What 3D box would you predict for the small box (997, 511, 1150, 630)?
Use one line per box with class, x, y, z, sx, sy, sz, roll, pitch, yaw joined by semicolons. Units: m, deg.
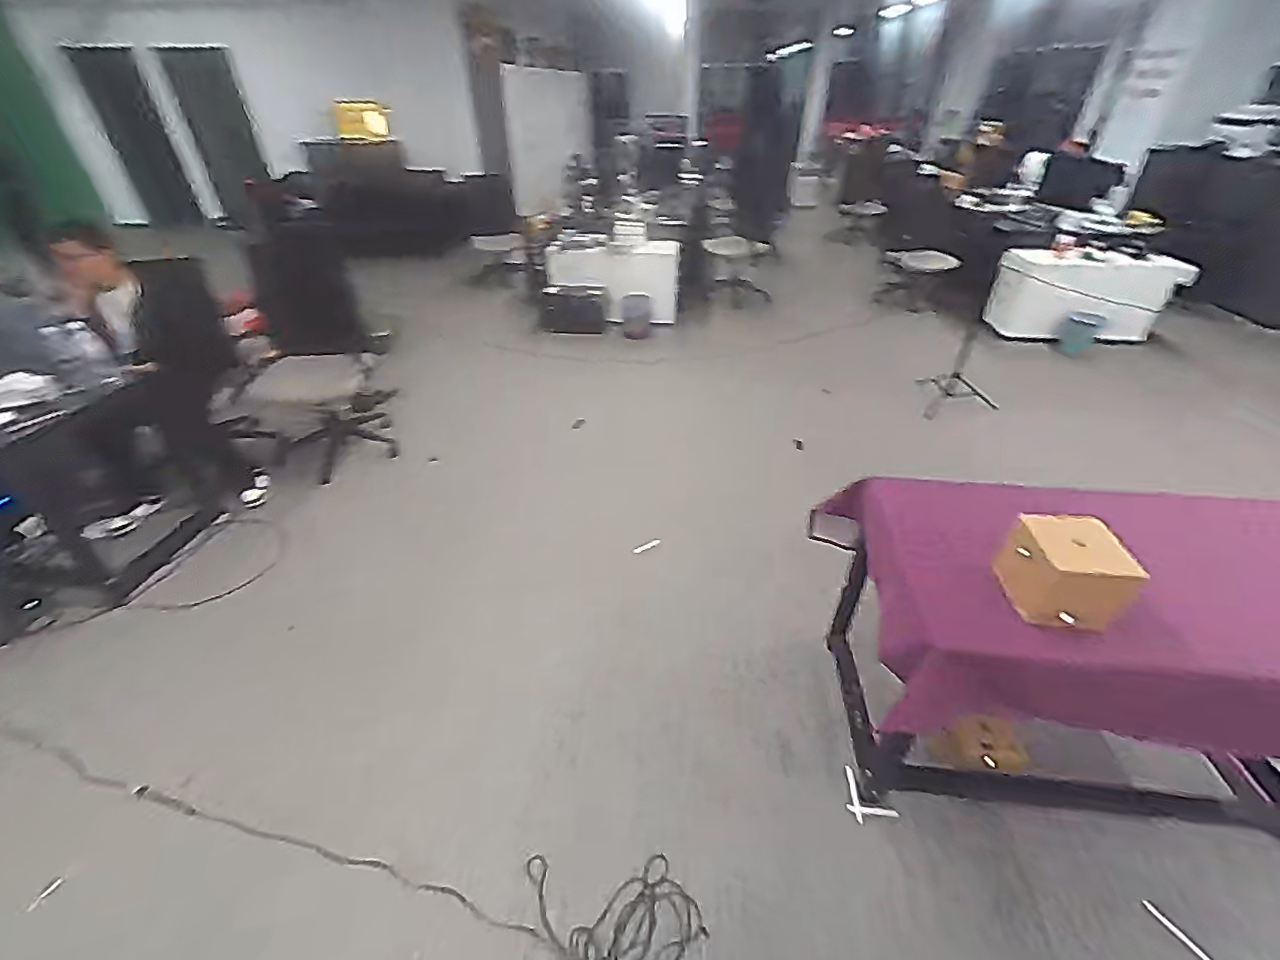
small box;0.900;0.190;1.149;0.168;0.176;0.179;3;37;7
